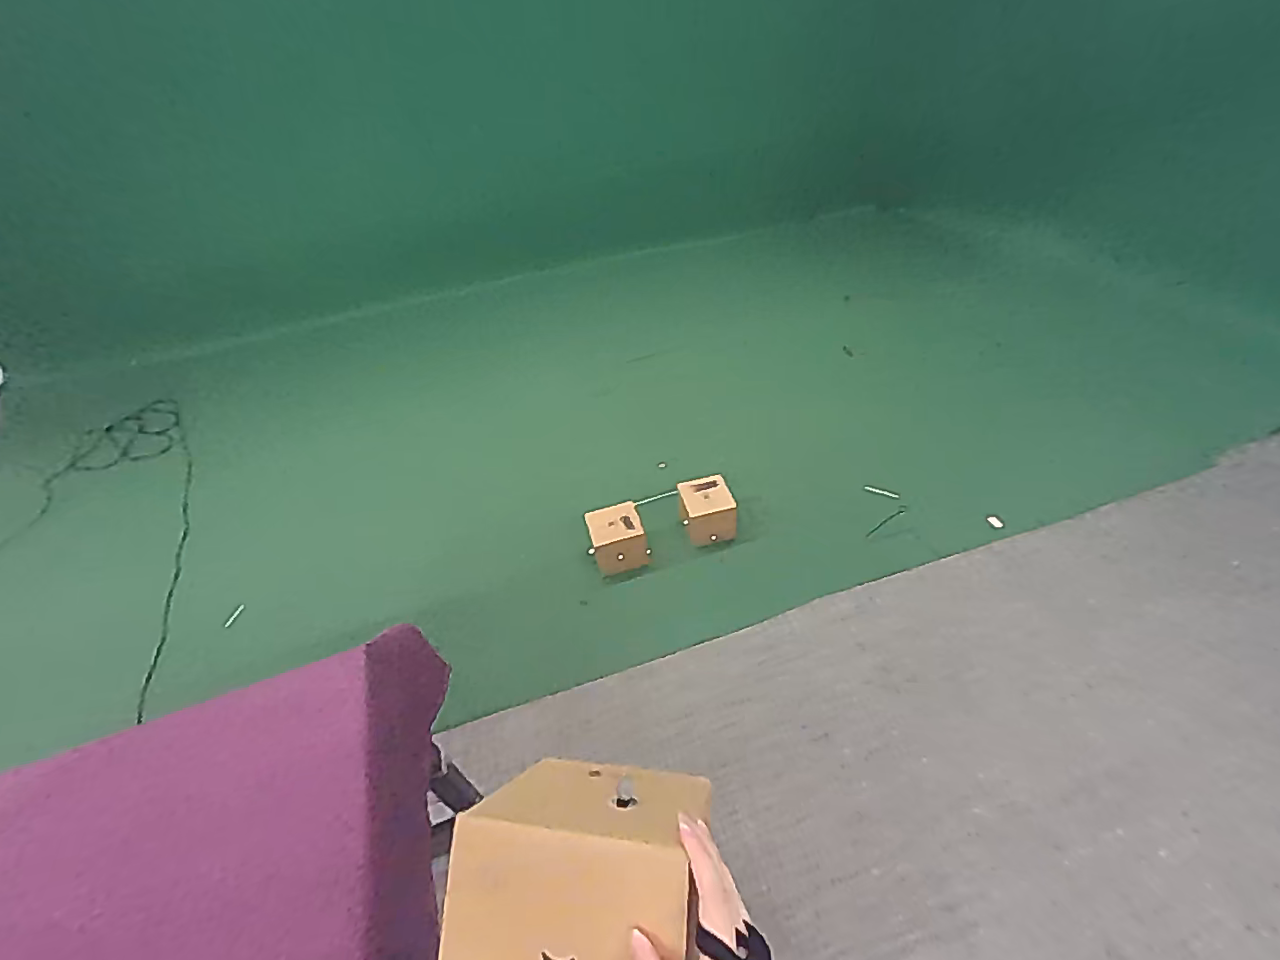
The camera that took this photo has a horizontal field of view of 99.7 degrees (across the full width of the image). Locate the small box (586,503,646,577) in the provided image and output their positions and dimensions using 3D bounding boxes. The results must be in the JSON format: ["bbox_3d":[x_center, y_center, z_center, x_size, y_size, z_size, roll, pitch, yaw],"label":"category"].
[{"bbox_3d":[-0.080,0.211,1.897,0.179,0.176,0.168,-16,43,-7],"label":"small box"}]
